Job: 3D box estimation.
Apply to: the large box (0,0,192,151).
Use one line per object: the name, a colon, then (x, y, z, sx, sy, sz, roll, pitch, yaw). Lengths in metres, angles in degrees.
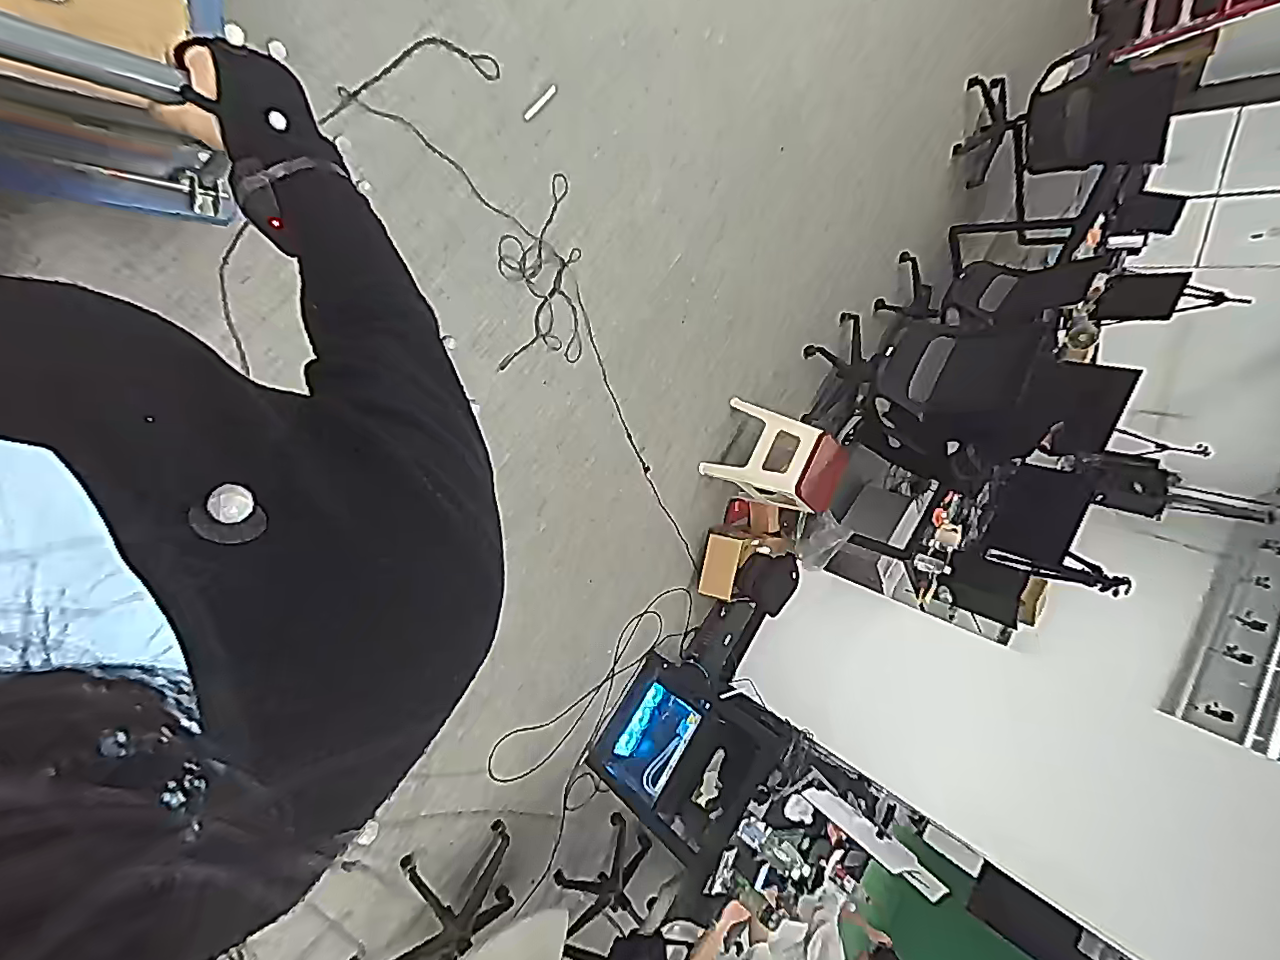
large box: (-0.836, -0.646, 0.652, 0.408, 0.320, 0.320, -9, 112, -44)
